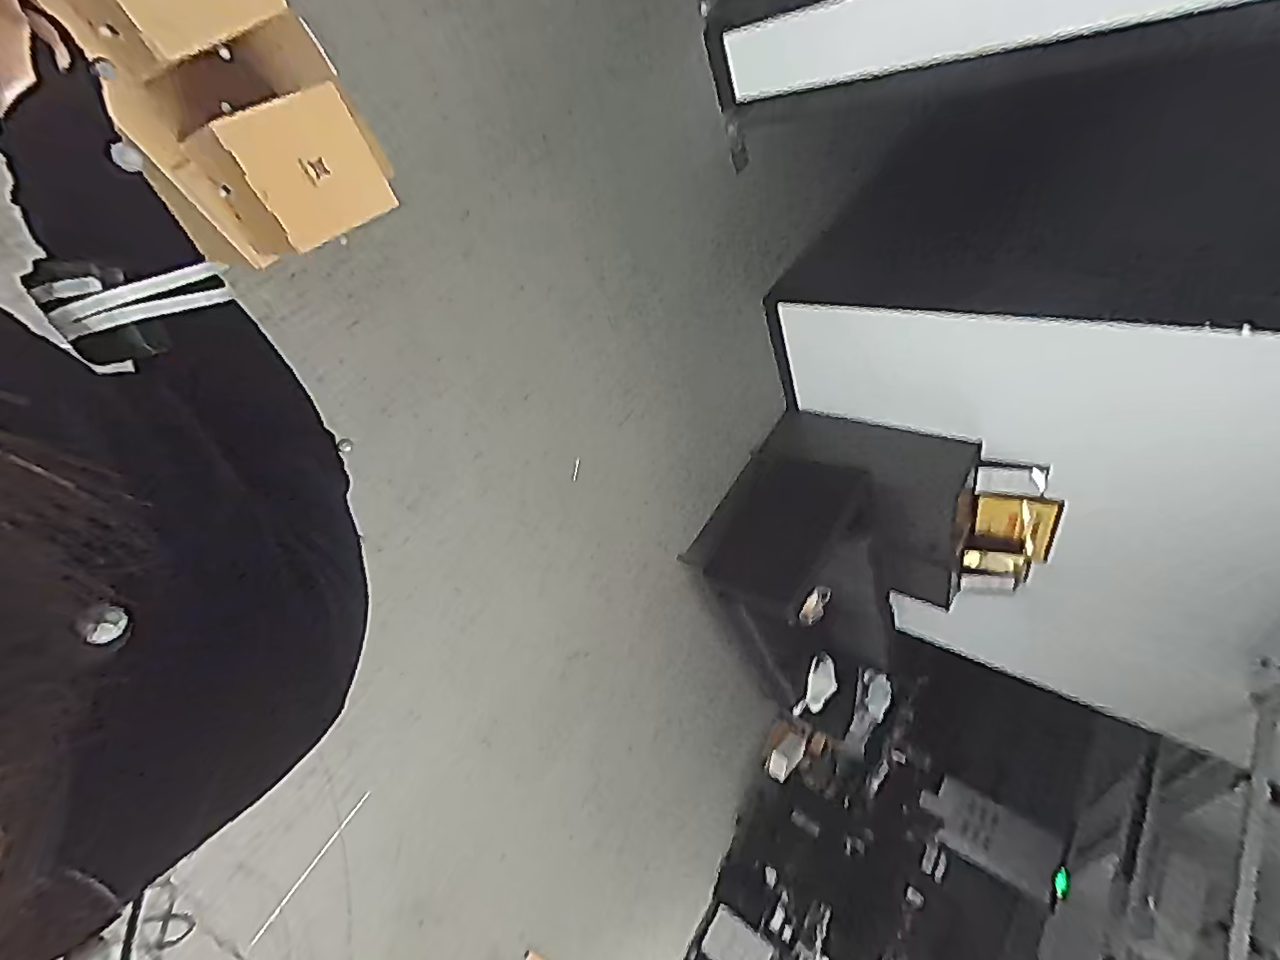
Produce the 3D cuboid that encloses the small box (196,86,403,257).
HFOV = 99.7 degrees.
[{"bbox_3d":[-0.502,-0.449,0.802,0.179,0.176,0.168,-48,135,-27],"label":"small box"}]

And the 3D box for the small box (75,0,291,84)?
[{"bbox_3d":[-0.577,-0.609,0.648,0.179,0.176,0.168,-51,140,-23],"label":"small box"}]
